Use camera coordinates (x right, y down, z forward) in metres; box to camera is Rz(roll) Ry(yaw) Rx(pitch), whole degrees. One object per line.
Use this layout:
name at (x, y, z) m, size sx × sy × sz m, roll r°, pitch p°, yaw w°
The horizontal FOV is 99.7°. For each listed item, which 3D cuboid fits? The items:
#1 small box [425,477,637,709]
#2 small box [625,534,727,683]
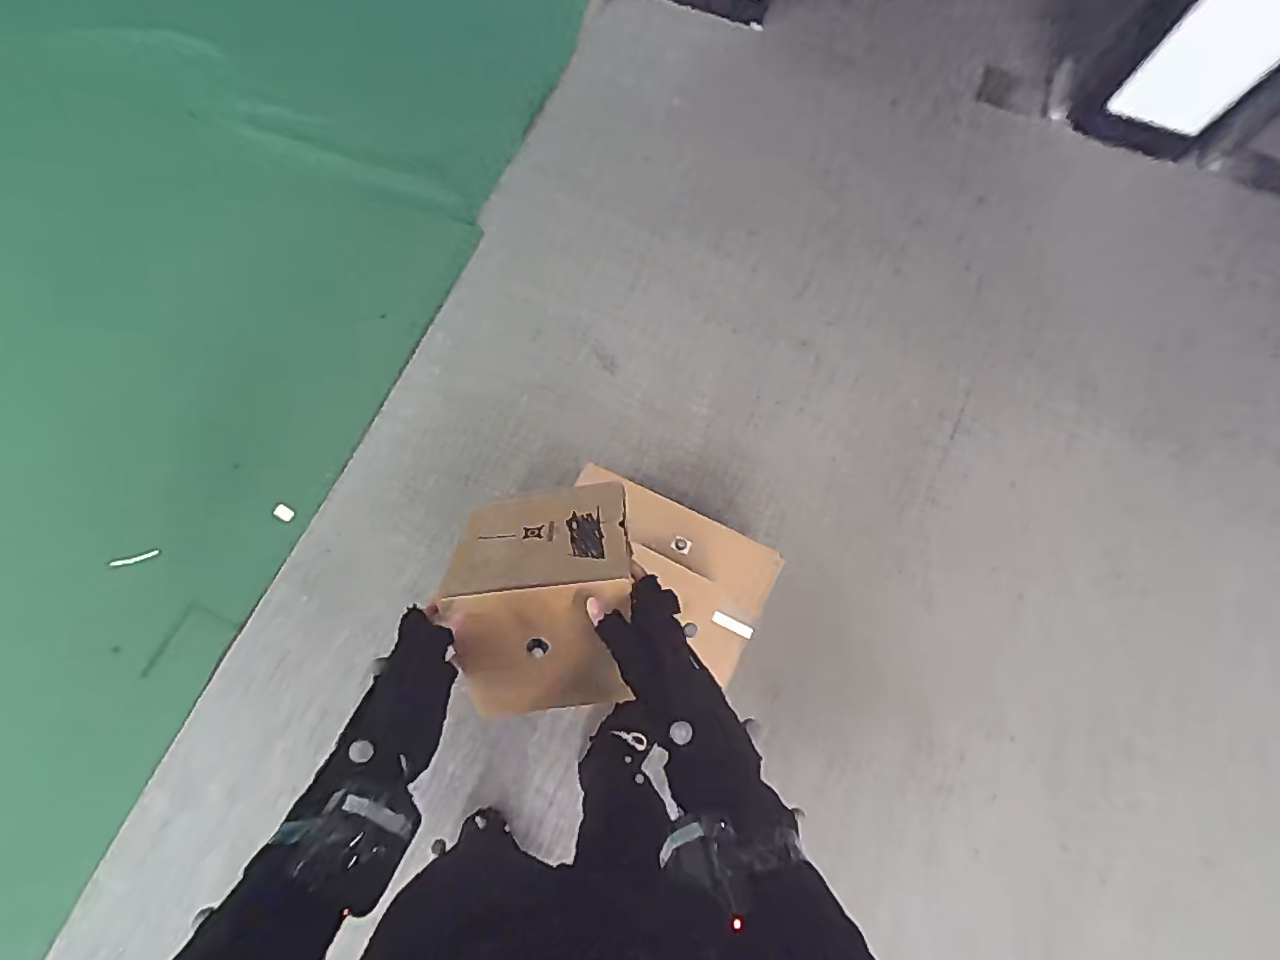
small box at (-0.097, 0.119, 0.581) m, size 0.179 × 0.176 × 0.168 m, roll -8°, pitch 33°, yaw 1°
small box at (0.023, 0.205, 0.886) m, size 0.179 × 0.176 × 0.168 m, roll 25°, pitch 82°, yaw 7°
